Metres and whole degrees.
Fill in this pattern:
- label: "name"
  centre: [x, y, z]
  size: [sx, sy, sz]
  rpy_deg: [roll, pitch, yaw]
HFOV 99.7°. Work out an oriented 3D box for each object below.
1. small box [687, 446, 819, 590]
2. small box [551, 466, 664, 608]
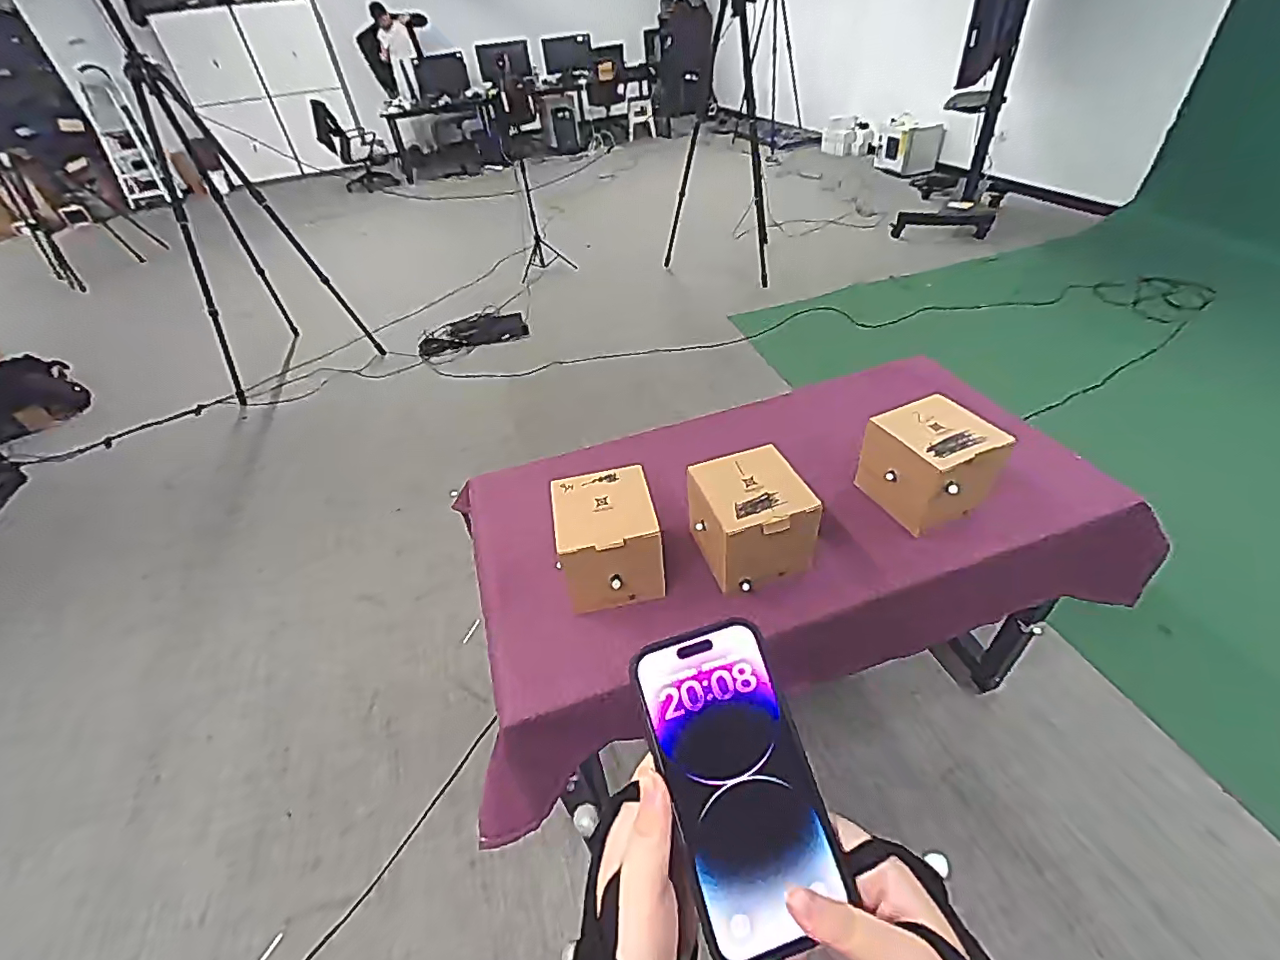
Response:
- label: "small box"
  centre: [0.191, 0.071, 0.951]
  size: [0.168, 0.176, 0.179]
  rpy_deg: [-16, 41, -9]
- label: "small box"
  centre: [-0.056, 0.106, 0.950]
  size: [0.168, 0.176, 0.179]
  rpy_deg: [-11, 42, -4]
